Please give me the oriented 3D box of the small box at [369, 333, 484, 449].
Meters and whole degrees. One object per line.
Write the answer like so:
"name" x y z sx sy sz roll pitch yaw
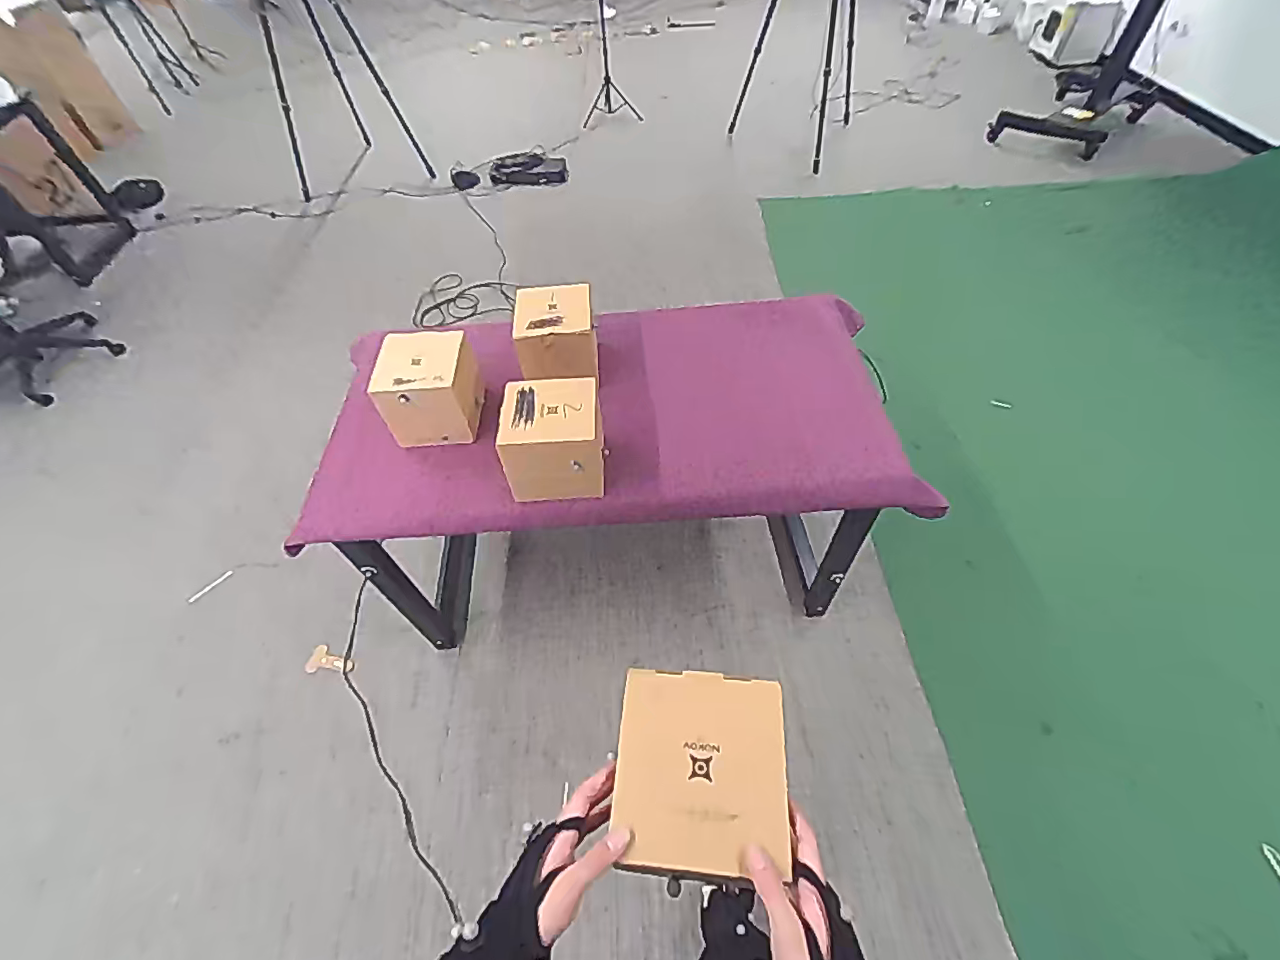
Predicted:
"small box" -0.442 -0.188 1.155 0.168 0.176 0.179 -5 52 1

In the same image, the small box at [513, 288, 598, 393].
"small box" -0.187 -0.313 1.239 0.168 0.176 0.179 -5 52 -1

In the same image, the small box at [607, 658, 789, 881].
"small box" 0.062 0.317 0.592 0.168 0.176 0.179 4 51 5
